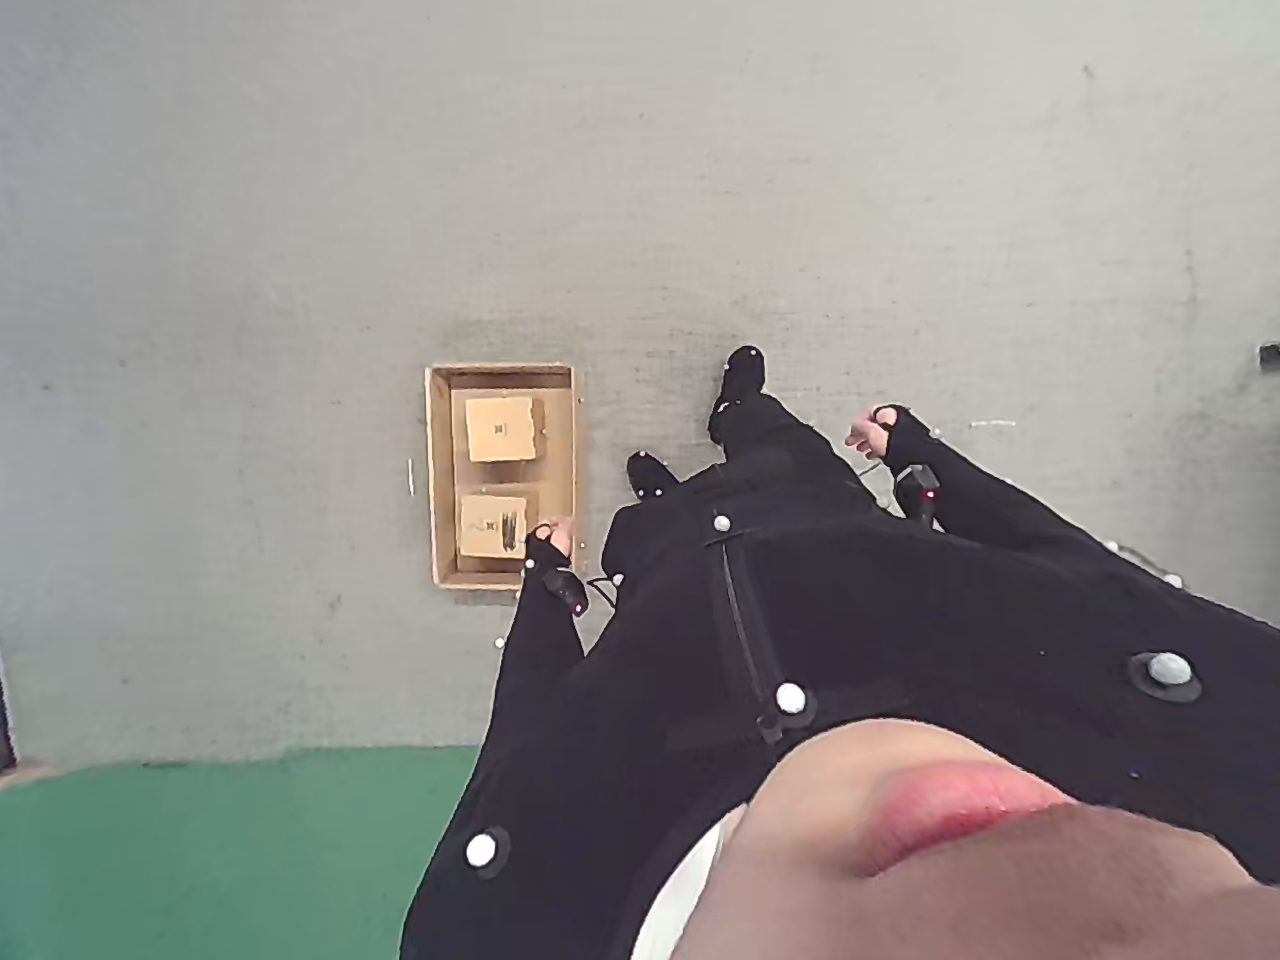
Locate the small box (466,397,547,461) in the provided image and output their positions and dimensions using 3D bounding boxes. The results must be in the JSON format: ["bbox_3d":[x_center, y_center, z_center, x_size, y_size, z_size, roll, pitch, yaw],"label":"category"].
[{"bbox_3d":[-0.364,-0.139,1.495,0.179,0.176,0.168,-3,96,1],"label":"small box"}]
